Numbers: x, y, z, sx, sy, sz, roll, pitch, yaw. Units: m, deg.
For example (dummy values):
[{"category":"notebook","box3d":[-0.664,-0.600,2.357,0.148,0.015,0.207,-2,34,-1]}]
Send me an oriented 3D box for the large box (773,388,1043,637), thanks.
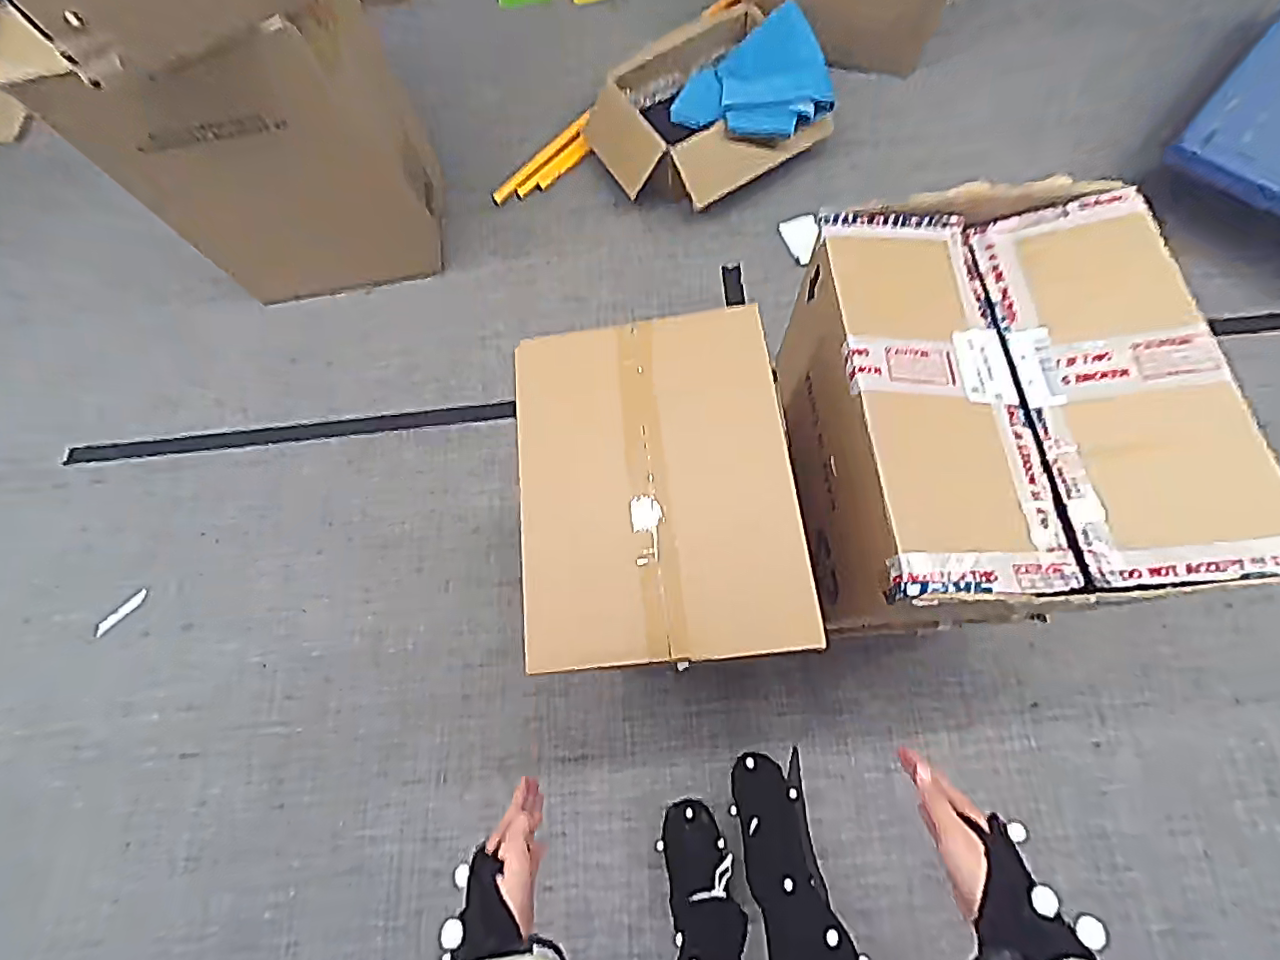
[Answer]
[{"category":"large box","box3d":[0.471,0.081,1.053,0.320,0.320,0.408,-6,72,2]}]
